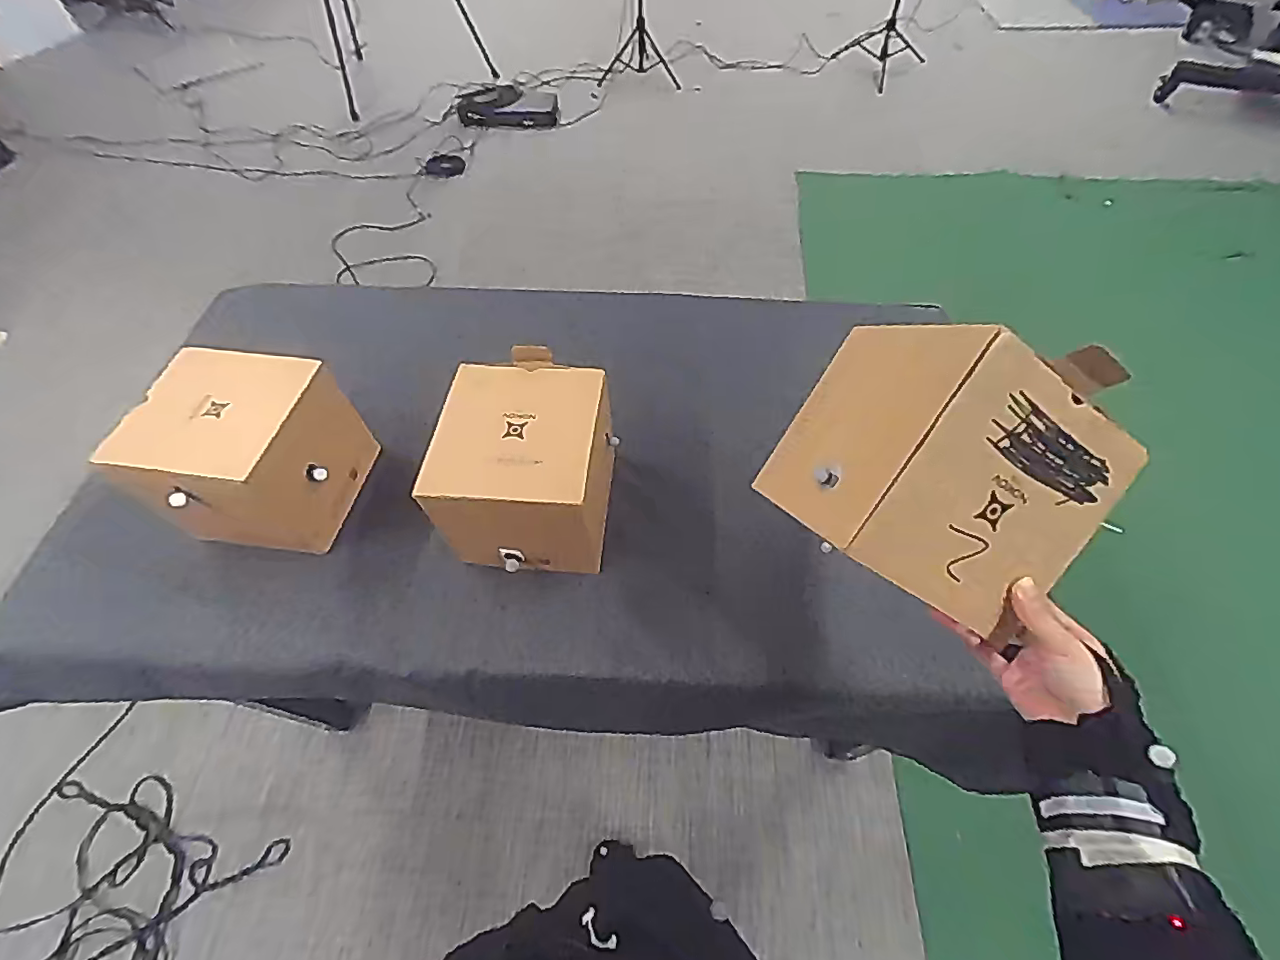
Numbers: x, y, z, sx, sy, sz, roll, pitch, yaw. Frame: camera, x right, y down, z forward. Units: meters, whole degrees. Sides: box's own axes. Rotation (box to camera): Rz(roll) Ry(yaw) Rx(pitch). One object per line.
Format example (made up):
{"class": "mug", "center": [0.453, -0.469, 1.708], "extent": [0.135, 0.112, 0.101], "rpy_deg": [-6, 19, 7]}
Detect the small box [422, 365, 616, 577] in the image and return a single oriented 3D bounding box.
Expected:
{"class": "small box", "center": [-0.119, -0.007, 0.618], "extent": [0.168, 0.176, 0.179], "rpy_deg": [3, 57, 3]}

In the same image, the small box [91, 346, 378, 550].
{"class": "small box", "center": [-0.445, -0.031, 0.635], "extent": [0.179, 0.176, 0.168], "rpy_deg": [7, 57, 5]}
